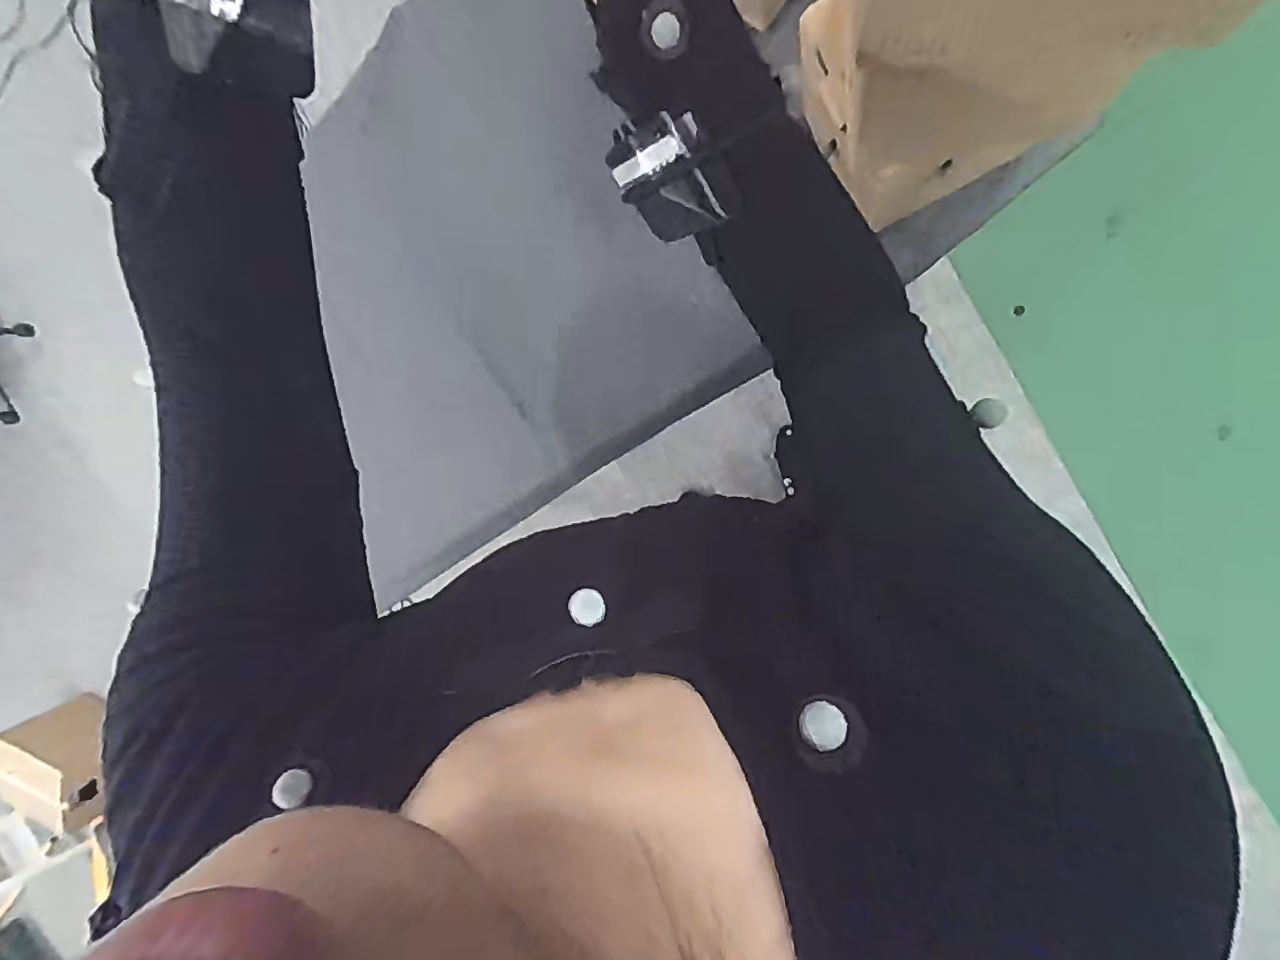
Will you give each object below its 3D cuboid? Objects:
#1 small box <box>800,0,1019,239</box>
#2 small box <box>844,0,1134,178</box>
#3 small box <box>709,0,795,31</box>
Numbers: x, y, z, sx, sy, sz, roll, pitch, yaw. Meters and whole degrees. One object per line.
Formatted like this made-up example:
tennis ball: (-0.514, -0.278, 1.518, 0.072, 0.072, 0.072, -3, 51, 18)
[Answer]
small box: (0.271, -0.365, 0.518, 0.179, 0.176, 0.168, -24, 89, 20)
small box: (0.233, -0.331, 0.362, 0.179, 0.176, 0.168, -2, 96, 17)
small box: (0.103, -0.602, 0.530, 0.179, 0.176, 0.168, 38, 111, 5)
